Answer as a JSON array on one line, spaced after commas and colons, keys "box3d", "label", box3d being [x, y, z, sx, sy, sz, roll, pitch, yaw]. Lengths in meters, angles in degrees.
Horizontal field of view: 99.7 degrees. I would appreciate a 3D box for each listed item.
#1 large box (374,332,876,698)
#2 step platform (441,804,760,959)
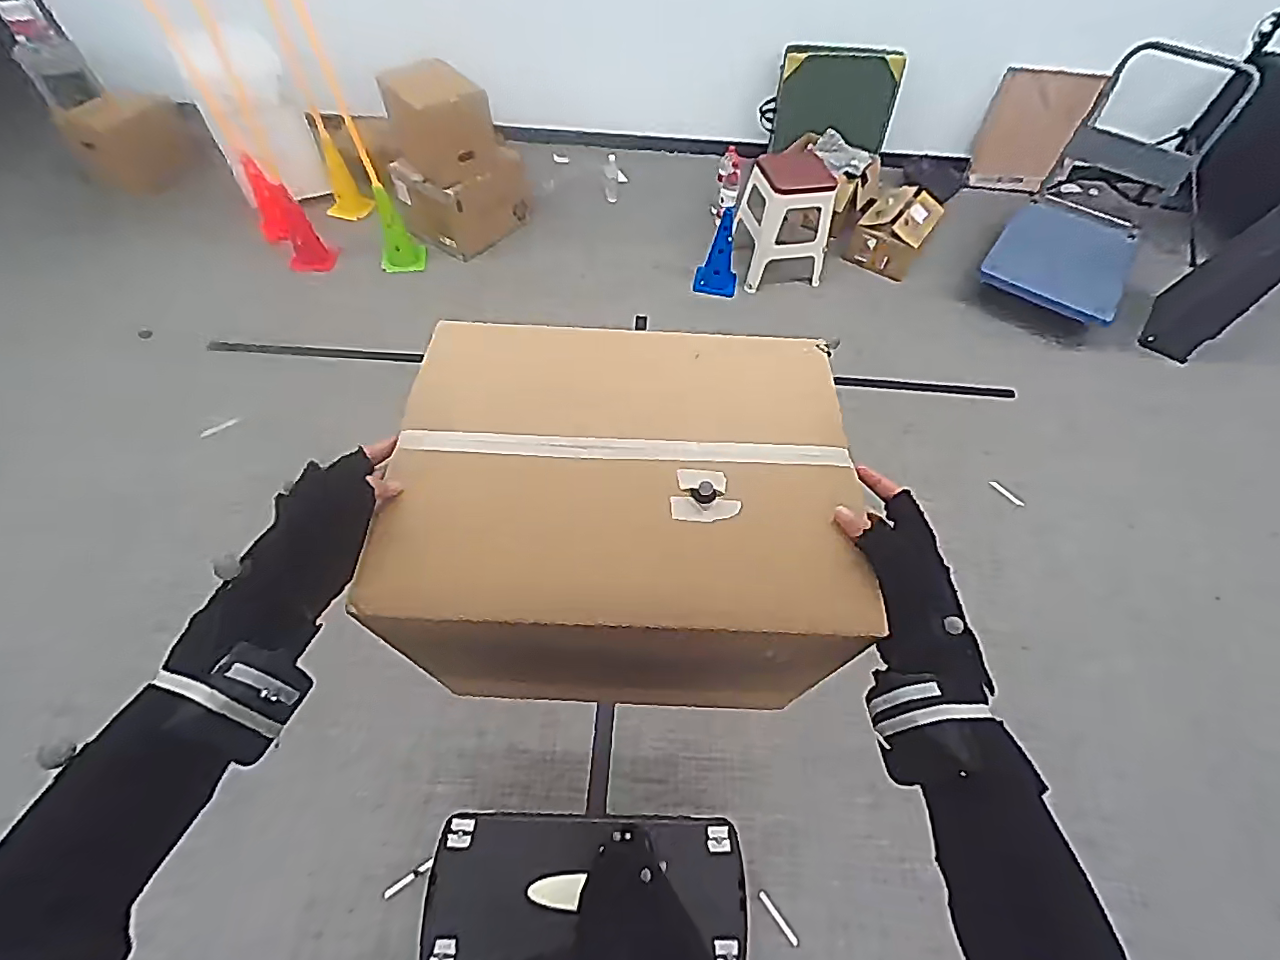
[{"box3d": [-0.015, 0.058, 0.625, 0.408, 0.320, 0.320, 3, 58, -1], "label": "large box"}, {"box3d": [-0.080, 0.902, 1.213, 0.684, 0.204, 0.286, 3, 56, -2], "label": "step platform"}]
